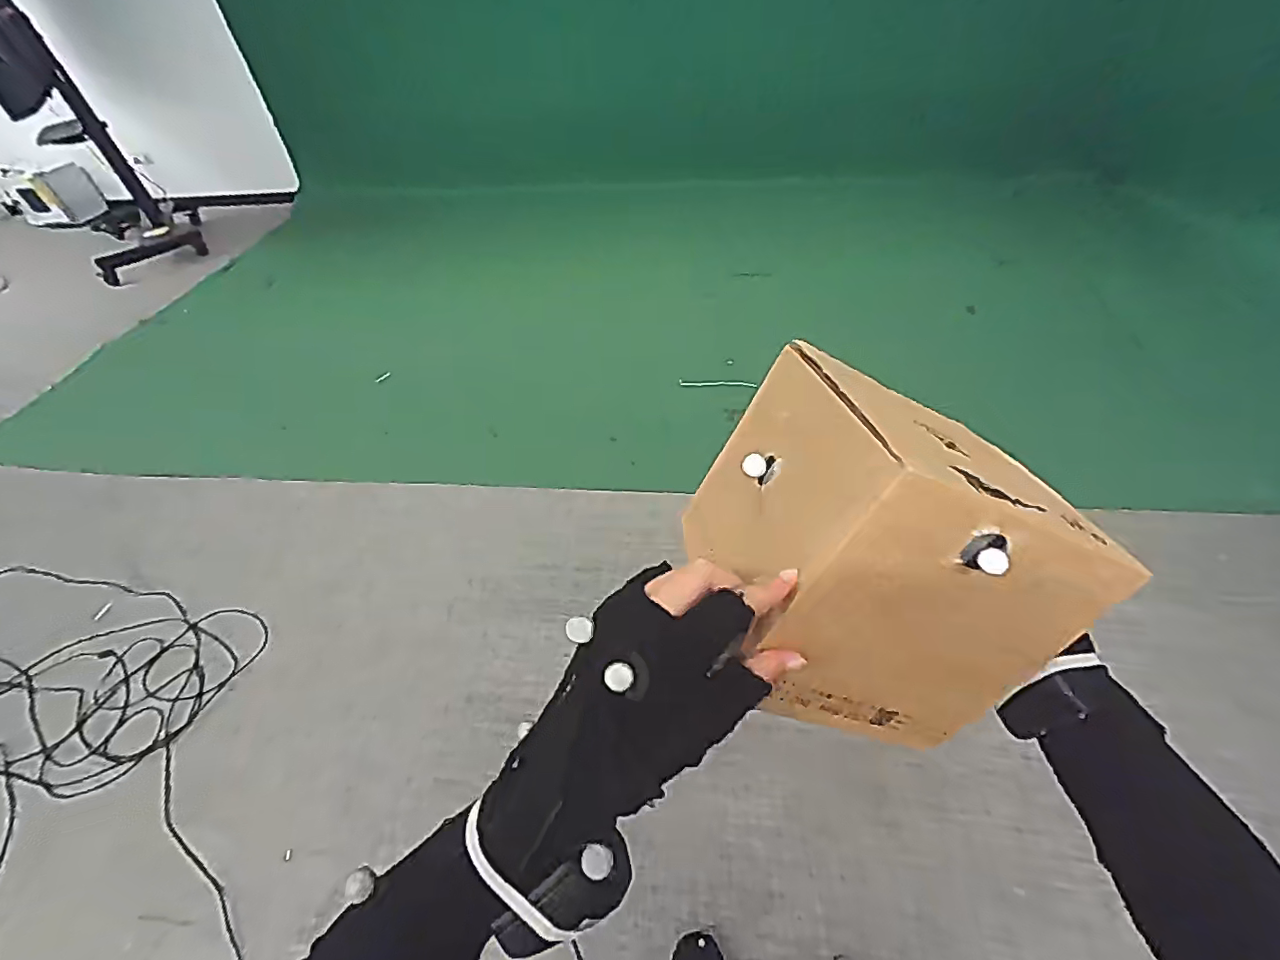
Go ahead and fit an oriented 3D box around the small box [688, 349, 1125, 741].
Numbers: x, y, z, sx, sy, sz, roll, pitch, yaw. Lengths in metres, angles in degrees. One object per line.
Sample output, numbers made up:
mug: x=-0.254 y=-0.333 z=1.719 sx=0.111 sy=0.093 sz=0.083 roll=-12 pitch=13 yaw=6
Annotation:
small box: x=0.147 y=0.041 z=0.374 sx=0.168 sy=0.176 sz=0.179 roll=20 pitch=28 yaw=-16
